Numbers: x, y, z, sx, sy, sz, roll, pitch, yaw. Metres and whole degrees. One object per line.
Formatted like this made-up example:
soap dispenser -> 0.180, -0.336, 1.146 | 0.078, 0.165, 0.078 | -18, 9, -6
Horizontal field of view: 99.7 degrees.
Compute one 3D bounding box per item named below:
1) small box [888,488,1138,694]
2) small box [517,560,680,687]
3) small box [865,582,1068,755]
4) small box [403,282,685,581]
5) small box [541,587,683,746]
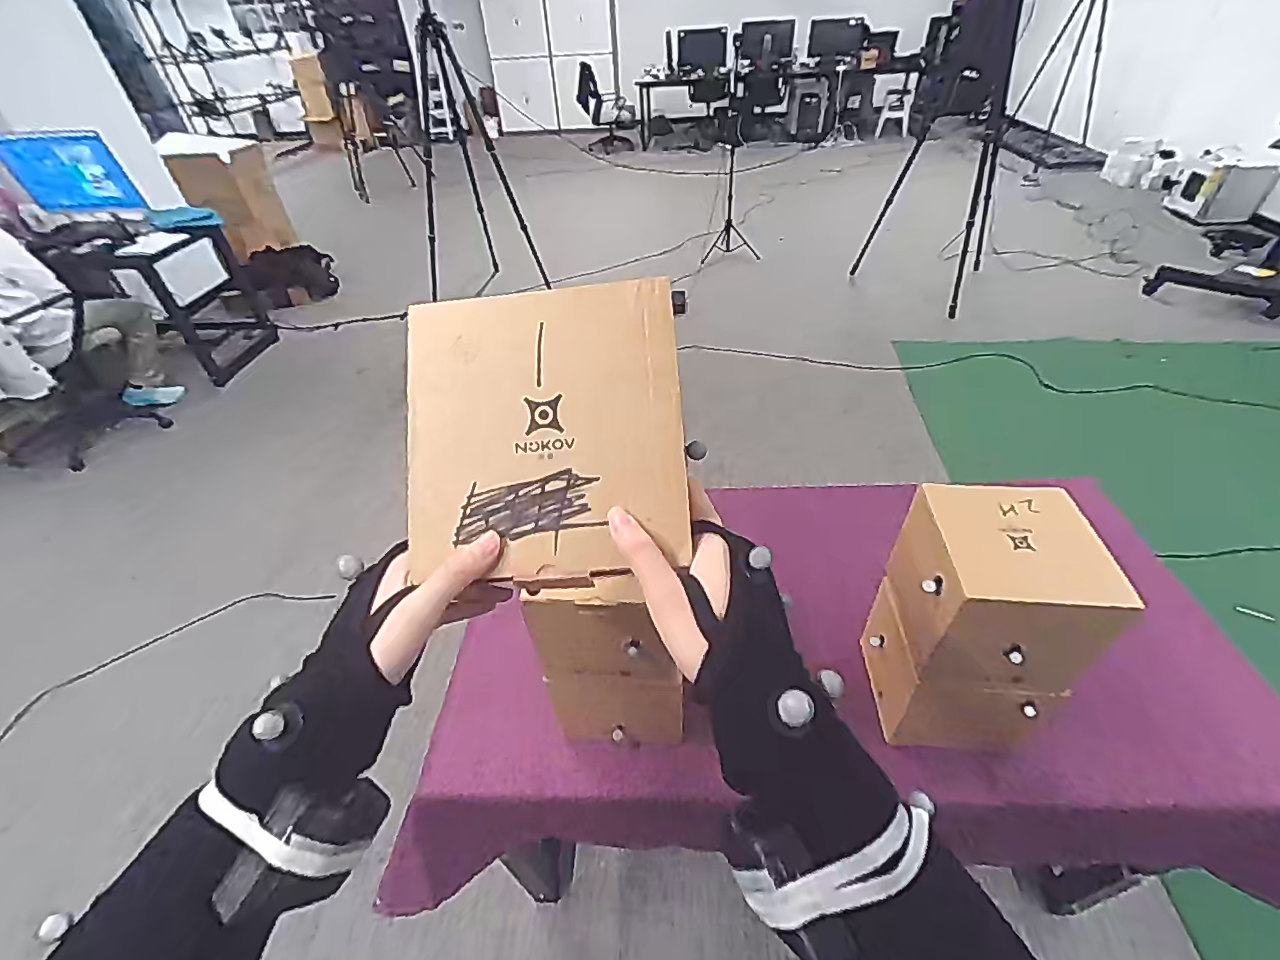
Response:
small box -> 0.413, 0.131, 0.640 | 0.168, 0.176, 0.179 | 3, 41, 7
small box -> -0.036, 0.137, 0.674 | 0.168, 0.176, 0.179 | 1, 41, 6
small box -> 0.423, 0.259, 0.744 | 0.179, 0.176, 0.168 | 1, 41, 6
small box -> -0.055, -0.018, 0.404 | 0.168, 0.176, 0.179 | -4, 79, 5
small box -> -0.029, 0.264, 0.778 | 0.179, 0.176, 0.168 | 1, 41, 5
